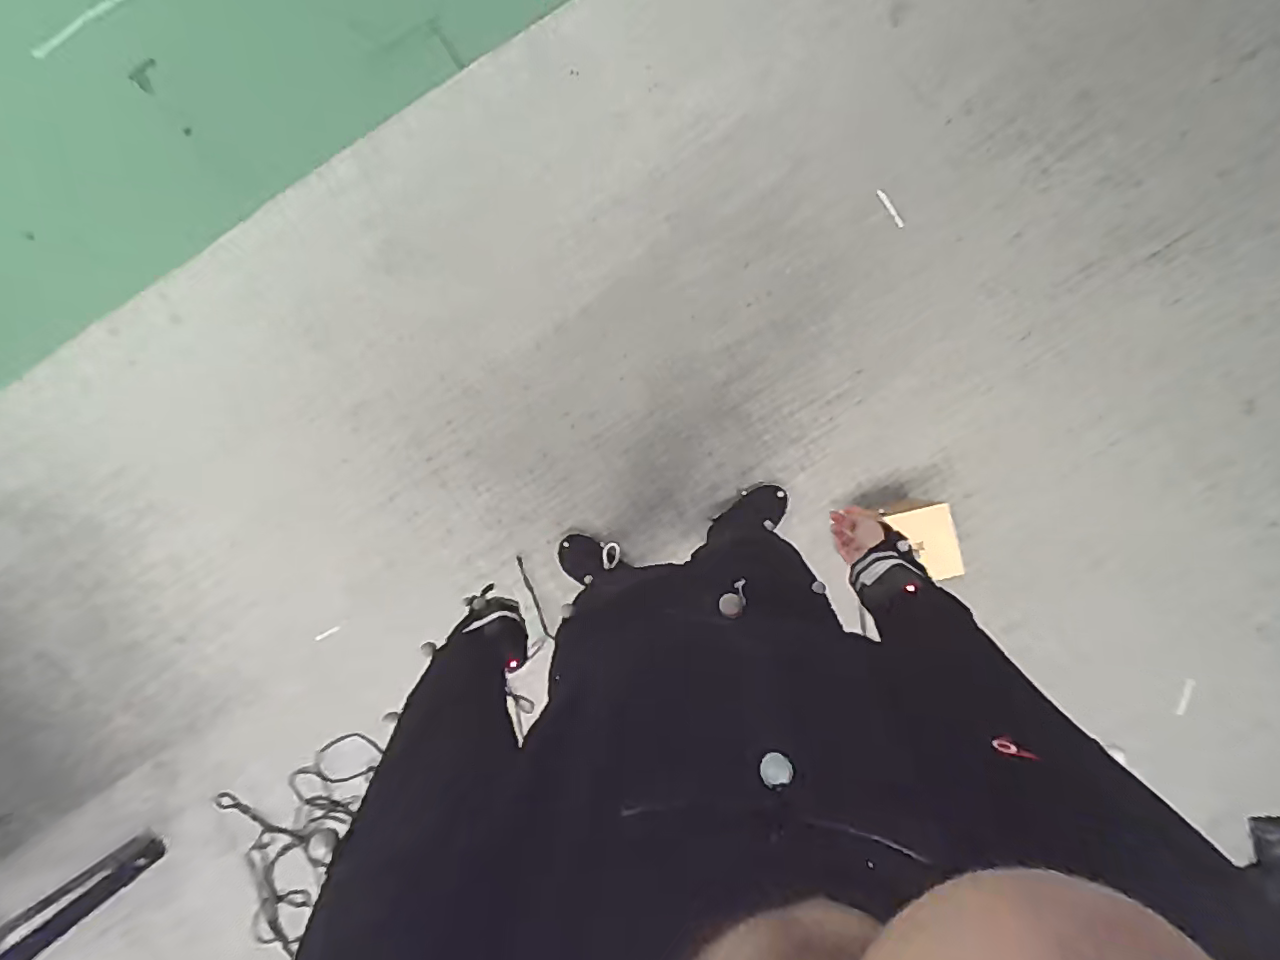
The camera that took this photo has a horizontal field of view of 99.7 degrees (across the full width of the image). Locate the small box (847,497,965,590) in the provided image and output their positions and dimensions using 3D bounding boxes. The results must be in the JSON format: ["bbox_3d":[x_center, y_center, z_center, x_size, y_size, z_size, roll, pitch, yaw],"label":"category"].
[{"bbox_3d":[0.611,0.140,1.261,0.179,0.176,0.168,-14,91,2],"label":"small box"}]
